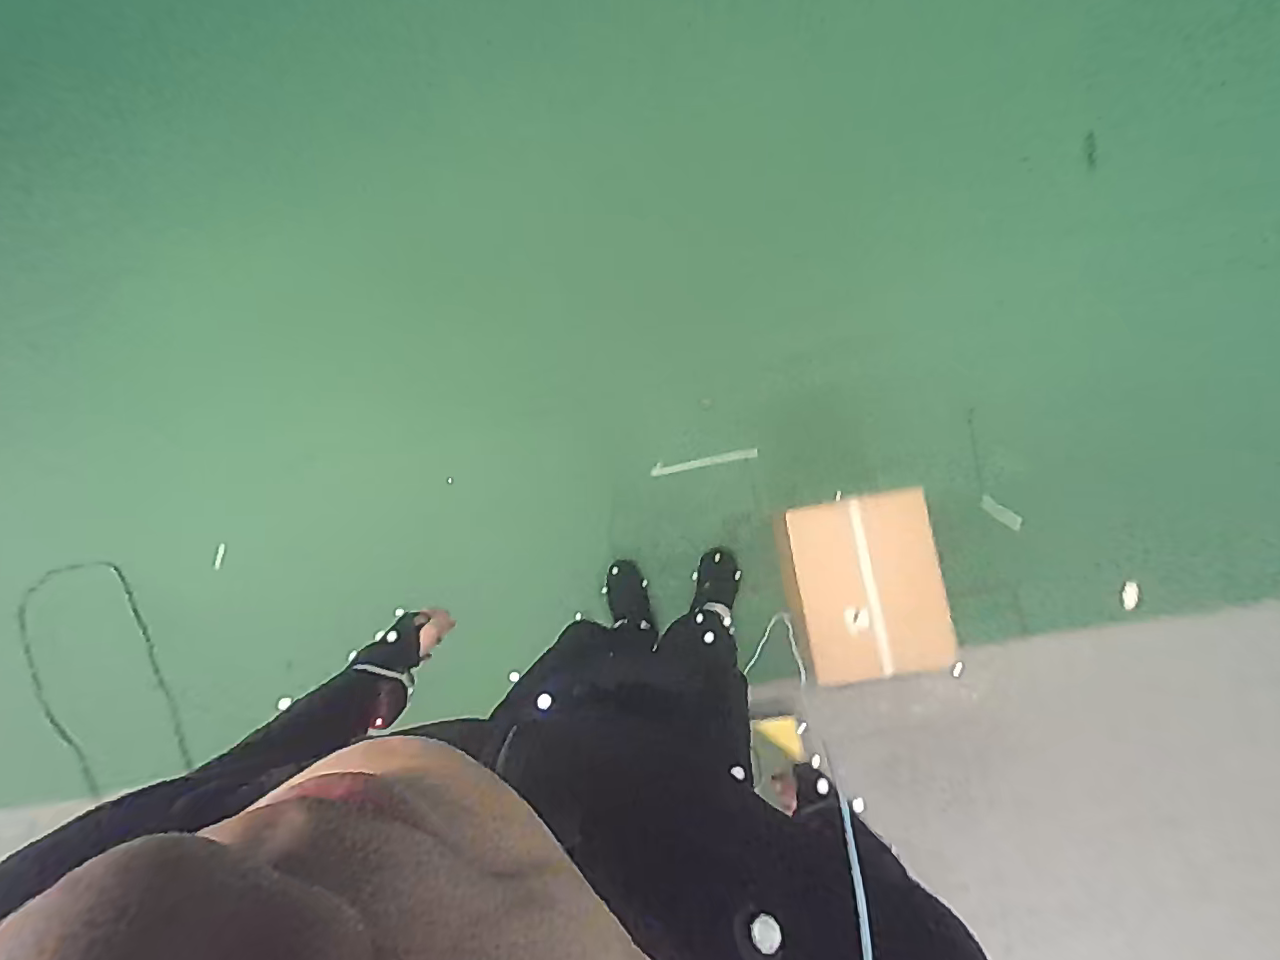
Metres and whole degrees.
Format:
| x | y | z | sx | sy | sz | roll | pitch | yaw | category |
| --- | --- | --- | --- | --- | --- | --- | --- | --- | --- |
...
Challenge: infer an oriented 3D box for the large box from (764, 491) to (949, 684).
| x | y | z | sx | sy | sz | roll | pitch | yaw | category |
| --- | --- | --- | --- | --- | --- | --- | --- | --- | --- |
| 0.525 | 0.256 | 1.390 | 0.320 | 0.320 | 0.408 | -10 | 86 | 6 | large box |
